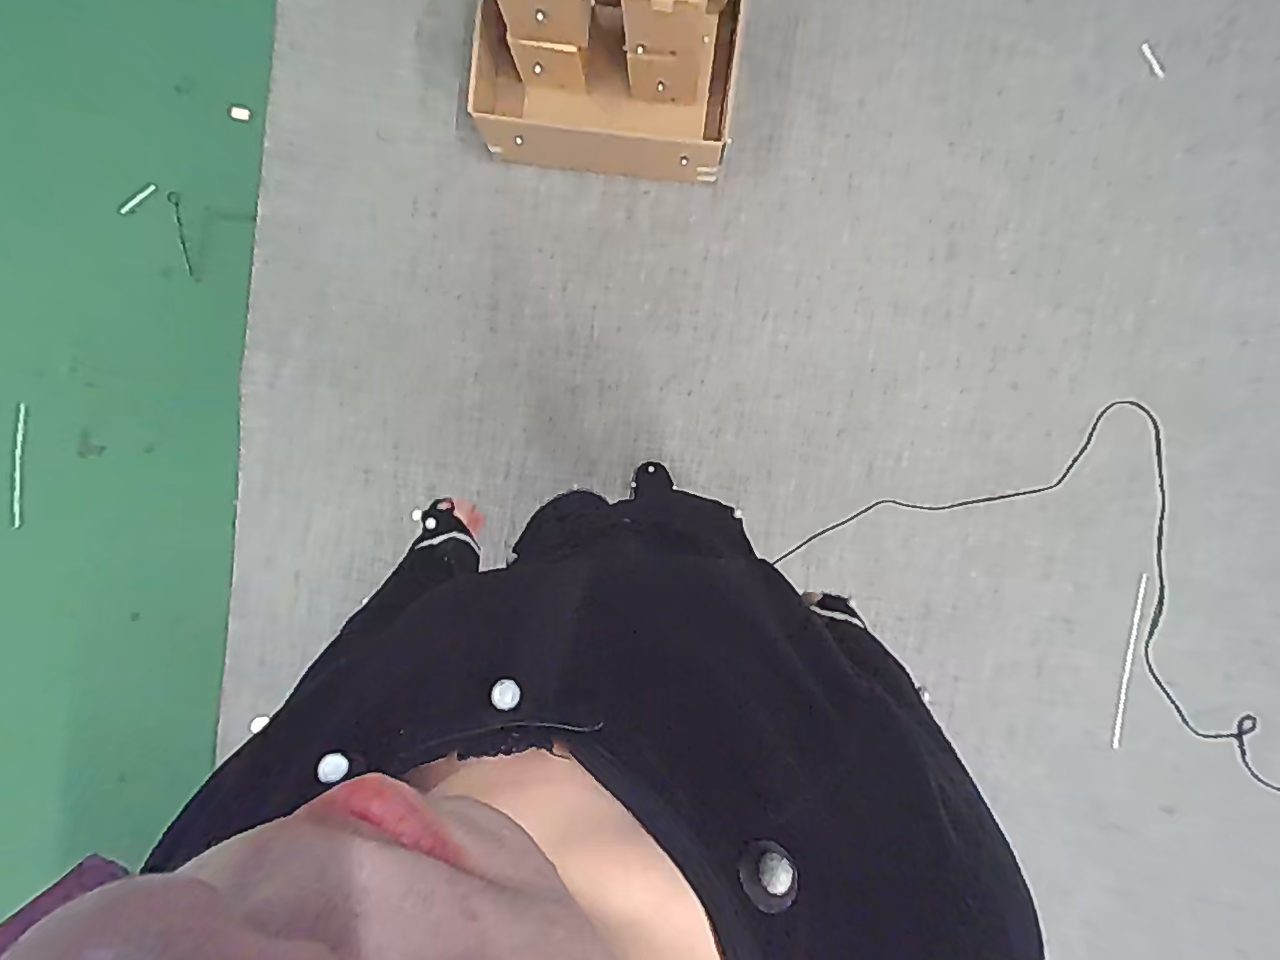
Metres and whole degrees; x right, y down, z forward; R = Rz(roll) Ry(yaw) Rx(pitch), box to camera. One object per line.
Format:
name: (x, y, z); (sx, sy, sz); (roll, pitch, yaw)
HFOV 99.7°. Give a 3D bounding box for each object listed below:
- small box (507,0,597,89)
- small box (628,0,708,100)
small box: (-0.202, -1.082, 1.292); (0.168, 0.176, 0.179); (11, 95, 0)
small box: (0.069, -1.044, 1.282); (0.168, 0.176, 0.179); (8, 95, 2)
